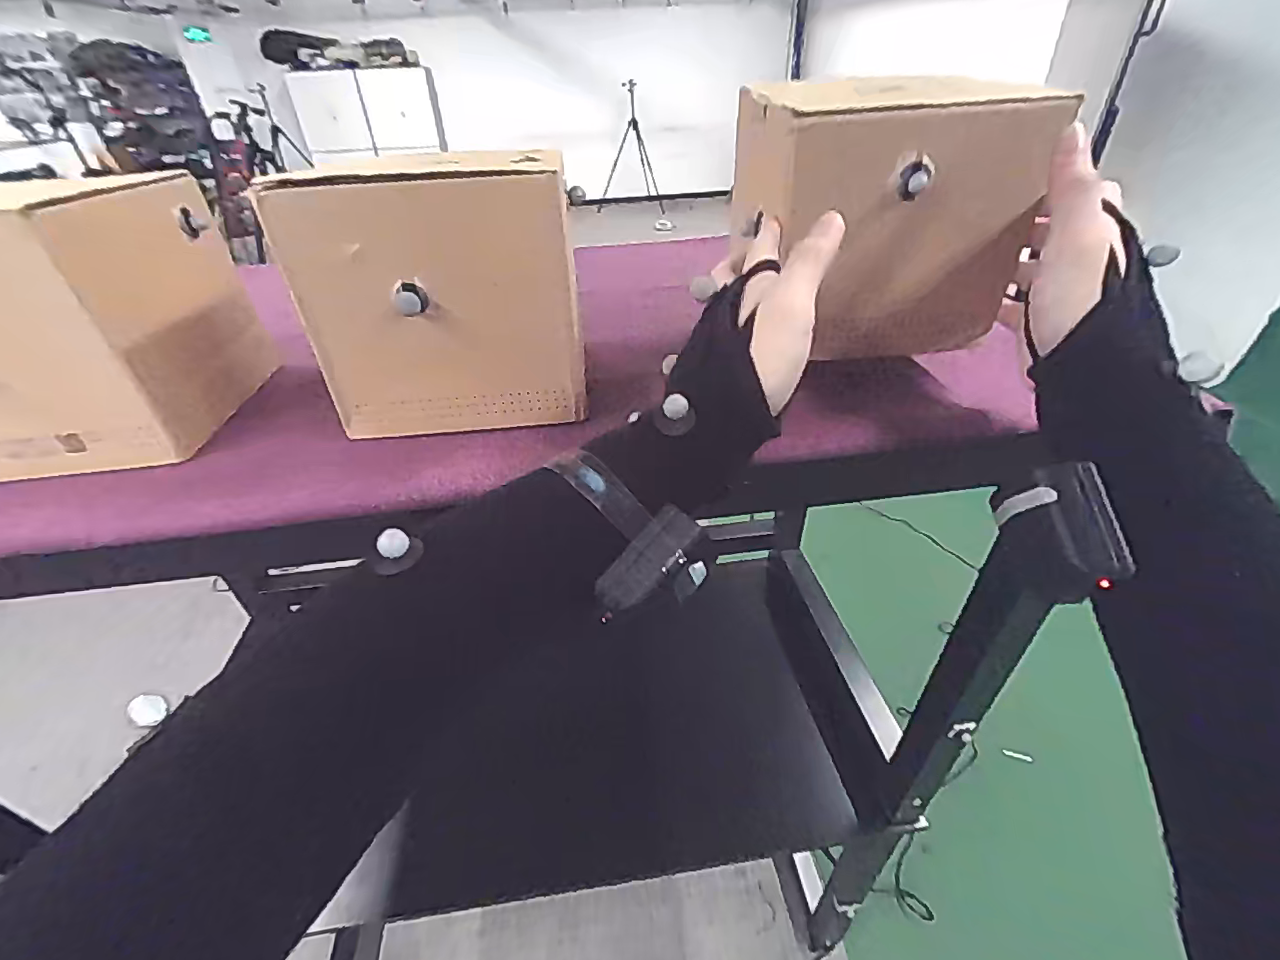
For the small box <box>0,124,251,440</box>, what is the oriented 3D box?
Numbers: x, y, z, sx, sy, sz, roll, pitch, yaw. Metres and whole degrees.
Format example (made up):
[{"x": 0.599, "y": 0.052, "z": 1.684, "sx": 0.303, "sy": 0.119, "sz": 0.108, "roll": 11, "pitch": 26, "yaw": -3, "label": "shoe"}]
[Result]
[{"x": -0.418, "y": -0.137, "z": 0.375, "sx": 0.168, "sy": 0.176, "sz": 0.179, "roll": -6, "pitch": 36, "yaw": -5, "label": "small box"}]

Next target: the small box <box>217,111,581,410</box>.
[{"x": -0.141, "y": -0.162, "z": 0.398, "sx": 0.179, "sy": 0.176, "sz": 0.168, "roll": -5, "pitch": 38, "yaw": -3, "label": "small box"}]

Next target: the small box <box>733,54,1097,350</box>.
[{"x": 0.168, "y": -0.208, "z": 0.408, "sx": 0.179, "sy": 0.176, "sz": 0.168, "roll": -1, "pitch": 41, "yaw": 1, "label": "small box"}]
